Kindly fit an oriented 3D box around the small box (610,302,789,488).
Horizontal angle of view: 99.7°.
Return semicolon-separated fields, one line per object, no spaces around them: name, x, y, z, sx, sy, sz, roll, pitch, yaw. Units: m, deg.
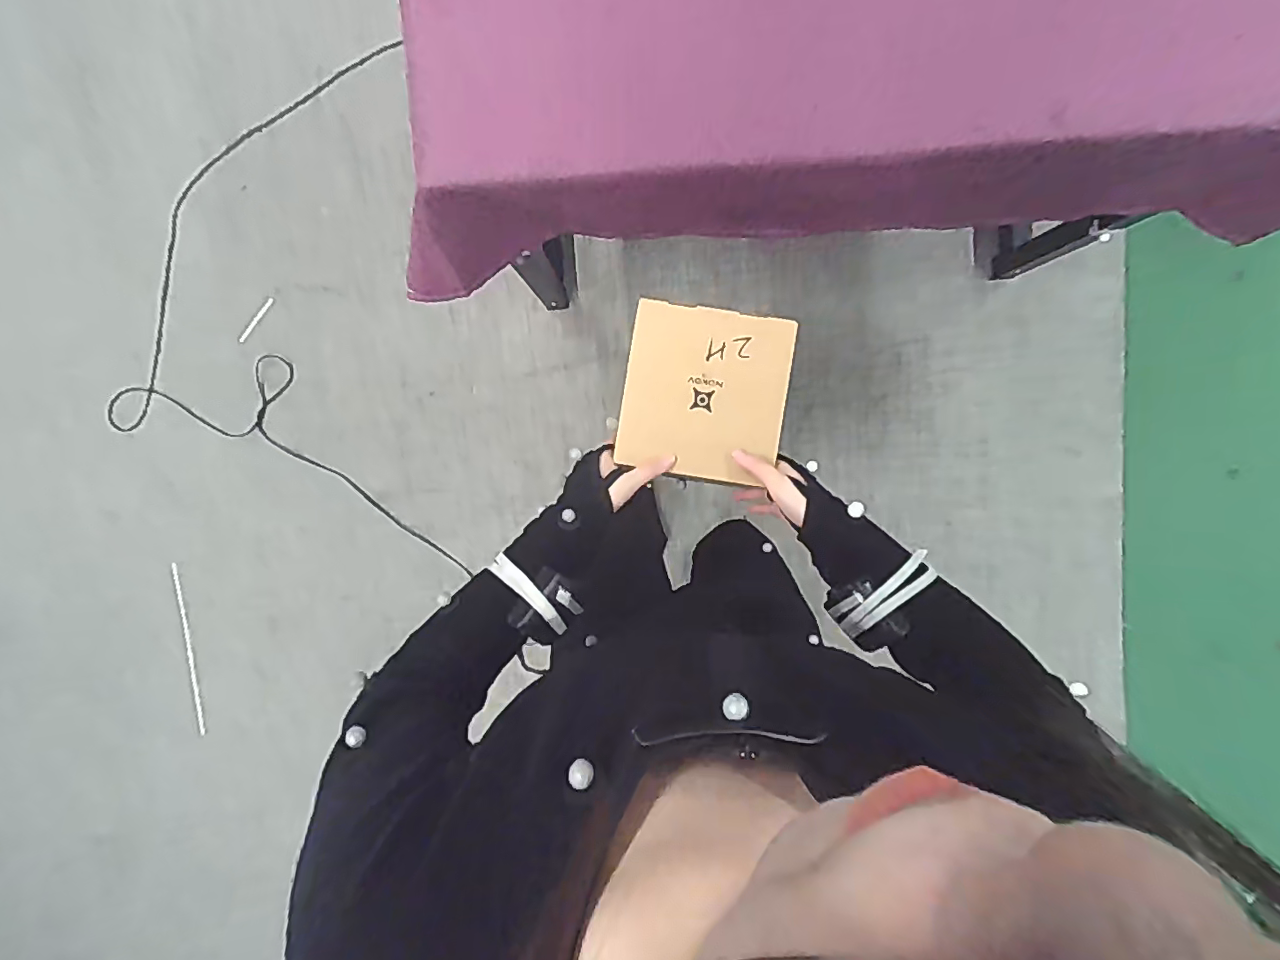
small box;0.066;-0.090;0.649;0.168;0.176;0.179;10;90;2
